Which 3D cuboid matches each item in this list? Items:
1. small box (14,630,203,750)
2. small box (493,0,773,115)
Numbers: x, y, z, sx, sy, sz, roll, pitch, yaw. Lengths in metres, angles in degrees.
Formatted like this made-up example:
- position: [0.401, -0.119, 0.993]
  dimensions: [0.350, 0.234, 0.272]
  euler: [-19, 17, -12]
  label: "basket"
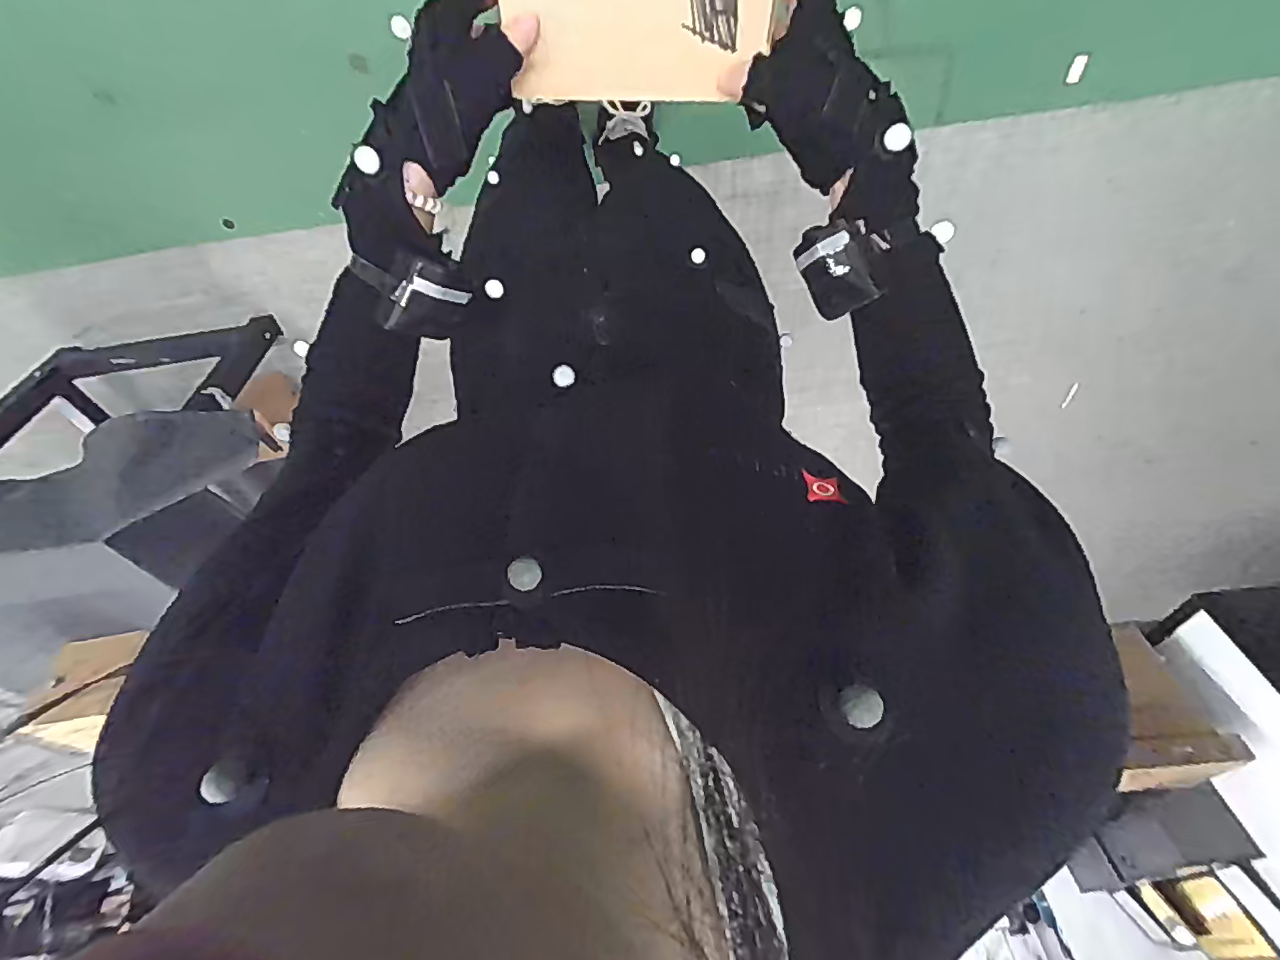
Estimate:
- position: [-1.042, 0.419, 1.081]
  dimensions: [0.179, 0.176, 0.168]
  euler: [-10, 139, 4]
  label: "small box"
- position: [-0.004, -0.371, 0.368]
  dimensions: [0.179, 0.176, 0.168]
  euler: [1, 138, -1]
  label: "small box"
